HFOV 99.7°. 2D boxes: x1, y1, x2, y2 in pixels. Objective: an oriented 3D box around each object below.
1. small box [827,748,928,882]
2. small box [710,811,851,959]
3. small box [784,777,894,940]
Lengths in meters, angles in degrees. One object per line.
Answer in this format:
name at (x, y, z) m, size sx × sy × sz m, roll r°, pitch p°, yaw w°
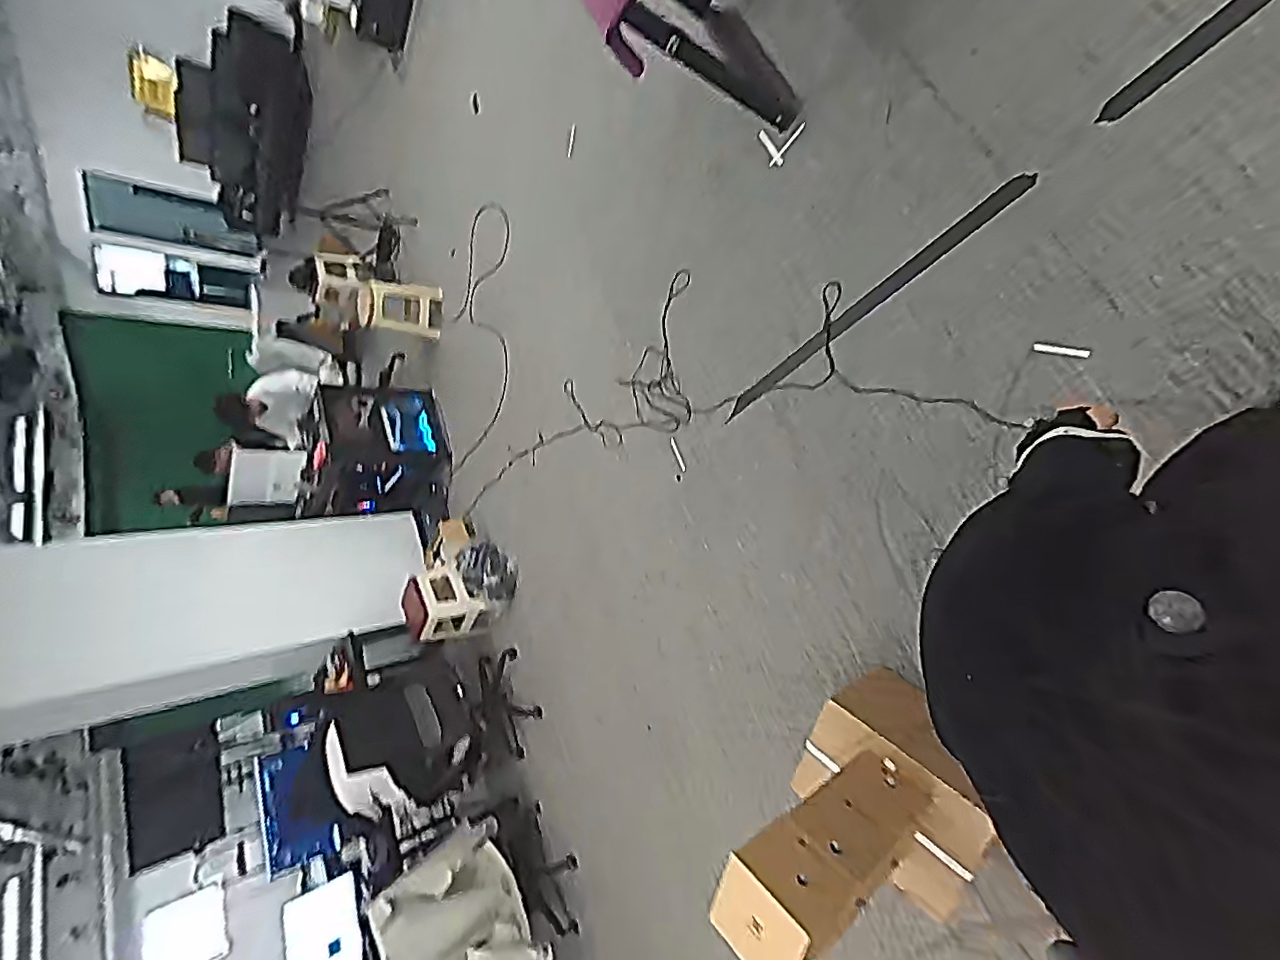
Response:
small box at (0.508, 0.742, 1.201) m, size 0.168 × 0.176 × 0.179 m, roll 30°, pitch 114°, yaw 44°
small box at (0.259, 0.759, 0.989) m, size 0.168 × 0.176 × 0.179 m, roll 29°, pitch 115°, yaw 44°
small box at (0.384, 0.754, 1.094) m, size 0.168 × 0.176 × 0.179 m, roll 30°, pitch 115°, yaw 43°
